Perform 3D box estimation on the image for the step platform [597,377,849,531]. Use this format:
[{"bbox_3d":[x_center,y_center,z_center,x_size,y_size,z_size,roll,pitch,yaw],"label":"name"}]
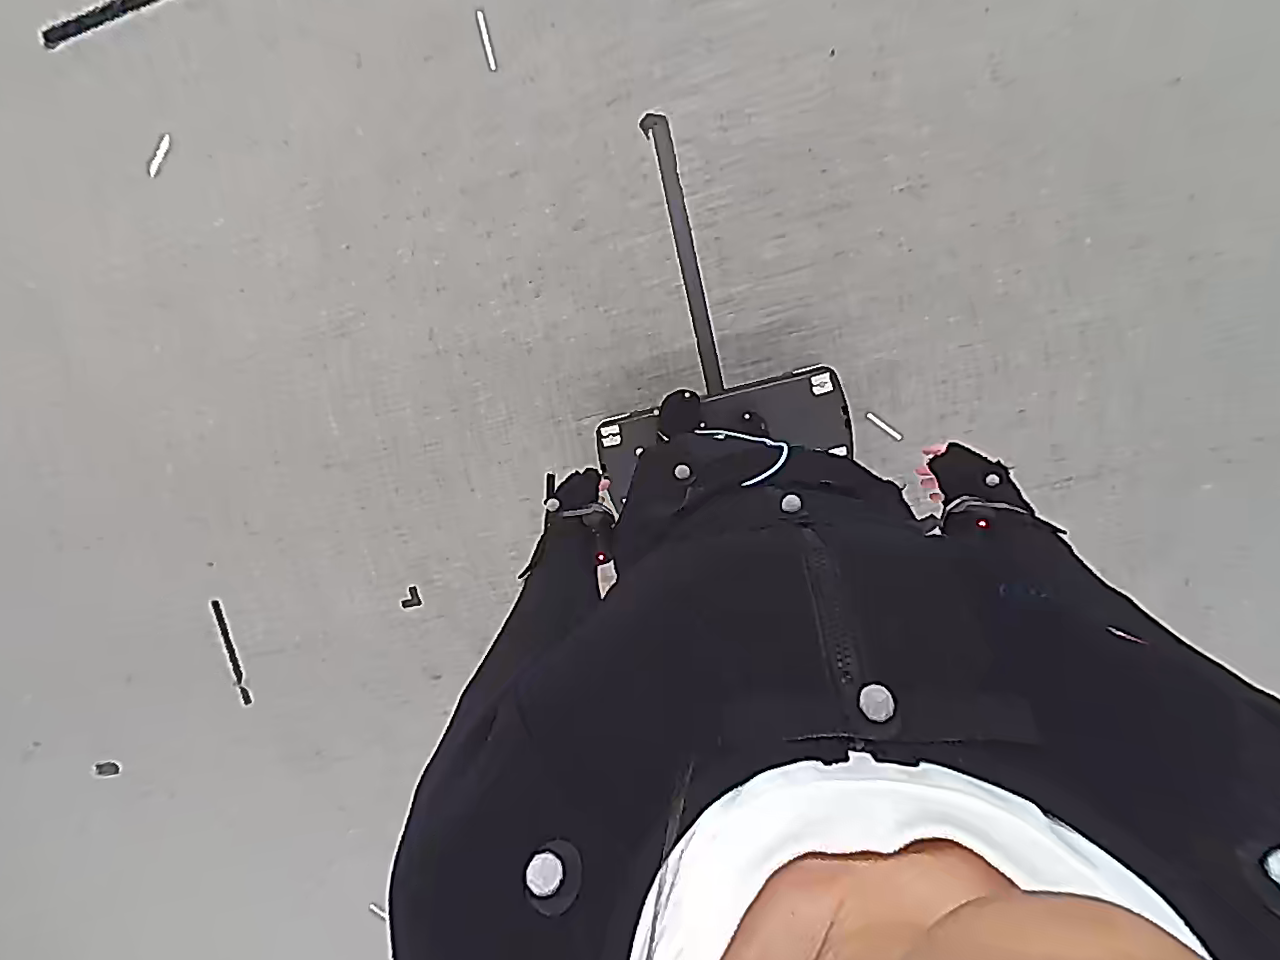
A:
[{"bbox_3d":[0.223,-0.071,1.528,0.684,0.204,0.286,-15,97,7],"label":"step platform"}]
